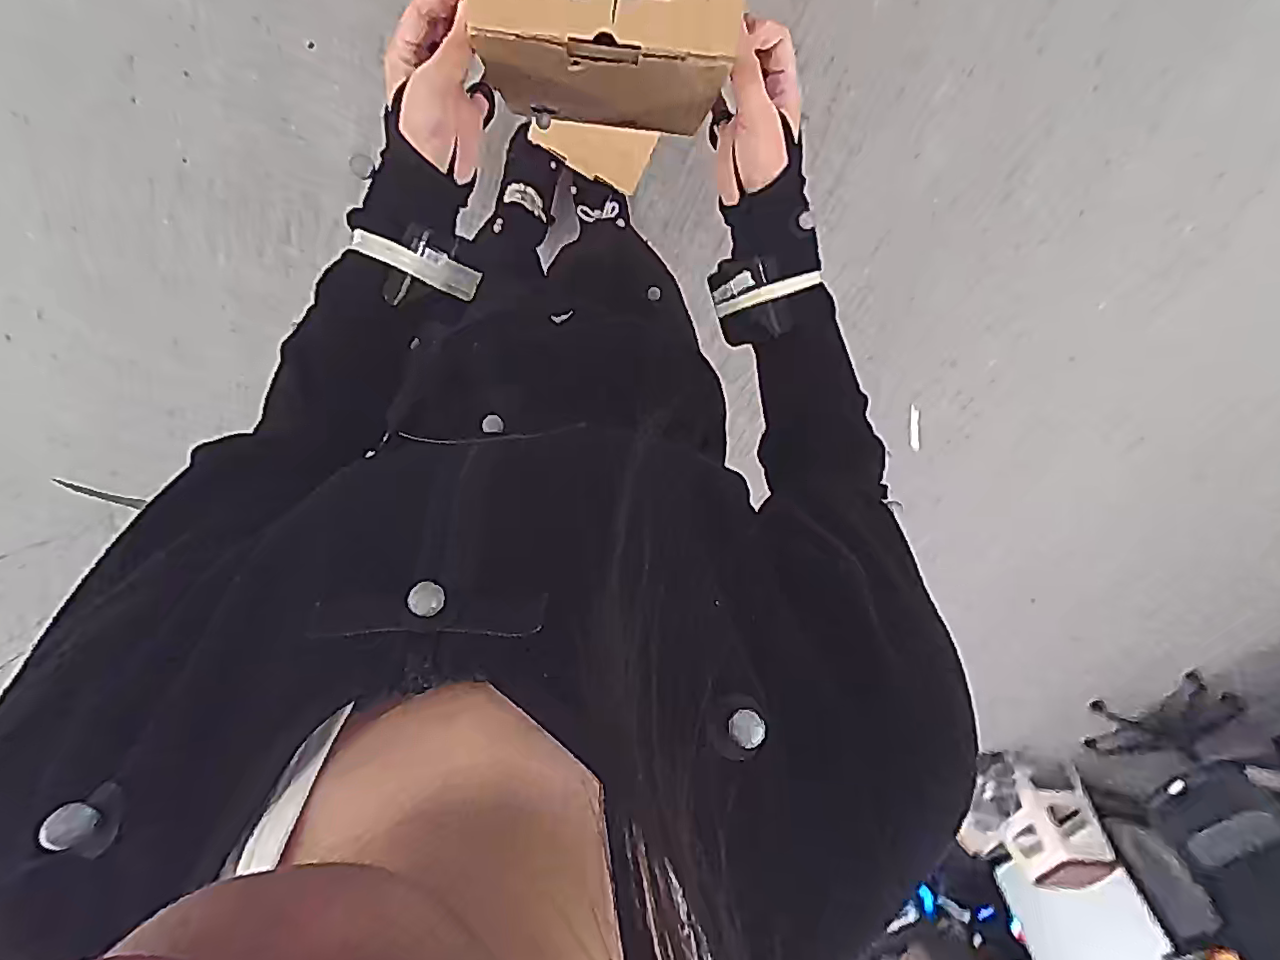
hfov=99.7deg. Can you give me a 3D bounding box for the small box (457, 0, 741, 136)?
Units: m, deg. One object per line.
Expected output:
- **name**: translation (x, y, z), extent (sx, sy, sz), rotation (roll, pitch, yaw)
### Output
- **small box**: translation (-0.021, -0.356, 0.365), extent (0.168, 0.176, 0.179), rotation (4, 109, -5)

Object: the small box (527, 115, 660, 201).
- **small box**: translation (-0.046, -0.548, 0.790), extent (0.168, 0.176, 0.179), rotation (23, 124, -17)
